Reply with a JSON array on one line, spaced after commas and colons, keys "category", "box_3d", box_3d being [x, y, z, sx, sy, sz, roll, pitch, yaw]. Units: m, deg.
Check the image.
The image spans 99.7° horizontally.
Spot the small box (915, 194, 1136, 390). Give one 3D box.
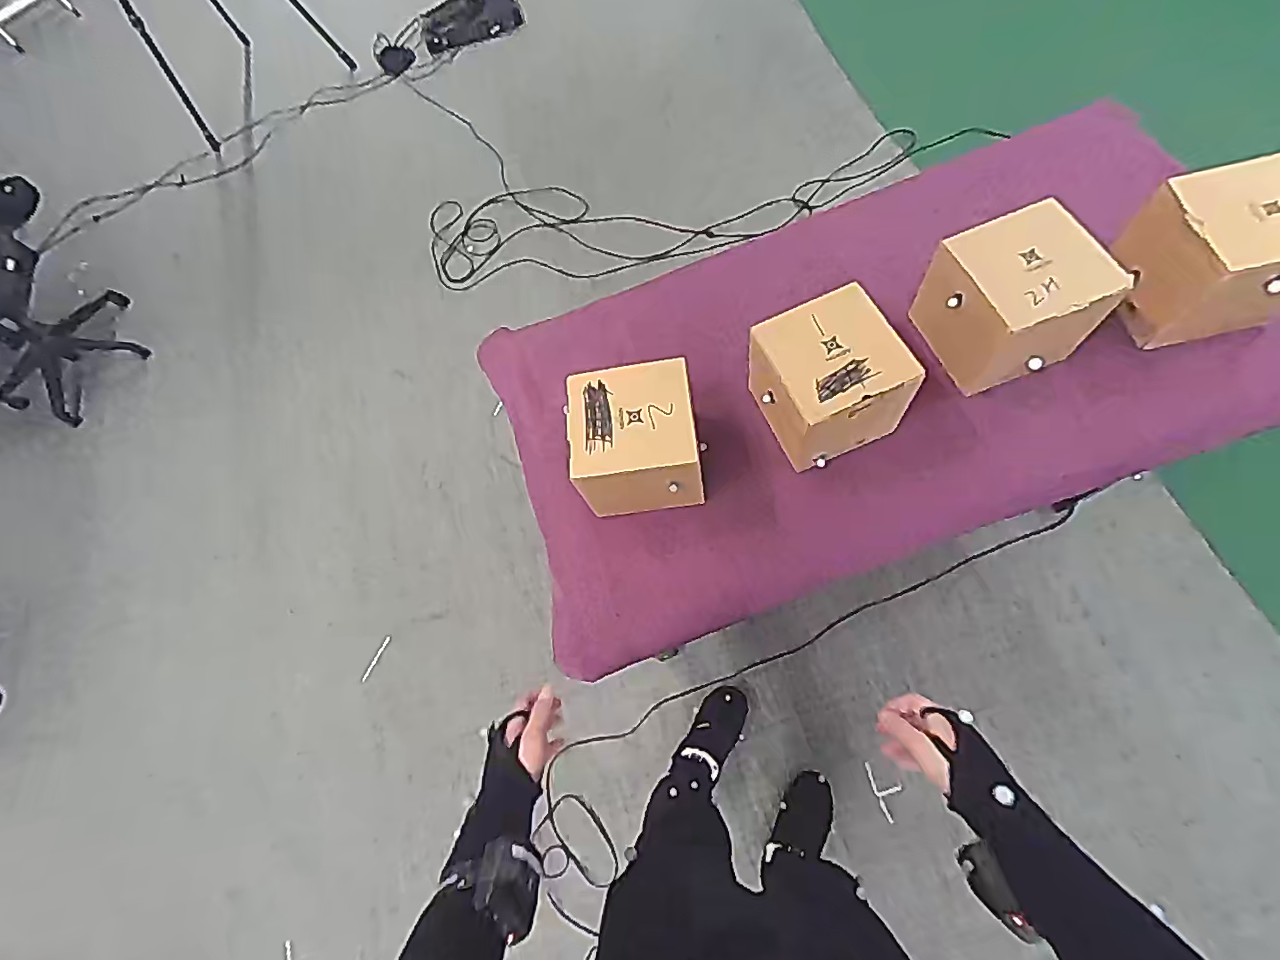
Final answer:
[{"category": "small box", "box_3d": [0.533, -0.263, 0.784, 0.168, 0.176, 0.179, -21, 67, 3]}]

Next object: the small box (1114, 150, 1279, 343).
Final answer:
[{"category": "small box", "box_3d": [0.812, -0.318, 0.753, 0.179, 0.176, 0.168, -12, 68, 7]}]

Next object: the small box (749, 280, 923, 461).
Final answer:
[{"category": "small box", "box_3d": [0.270, -0.146, 0.790, 0.168, 0.176, 0.179, -23, 66, 1]}]
